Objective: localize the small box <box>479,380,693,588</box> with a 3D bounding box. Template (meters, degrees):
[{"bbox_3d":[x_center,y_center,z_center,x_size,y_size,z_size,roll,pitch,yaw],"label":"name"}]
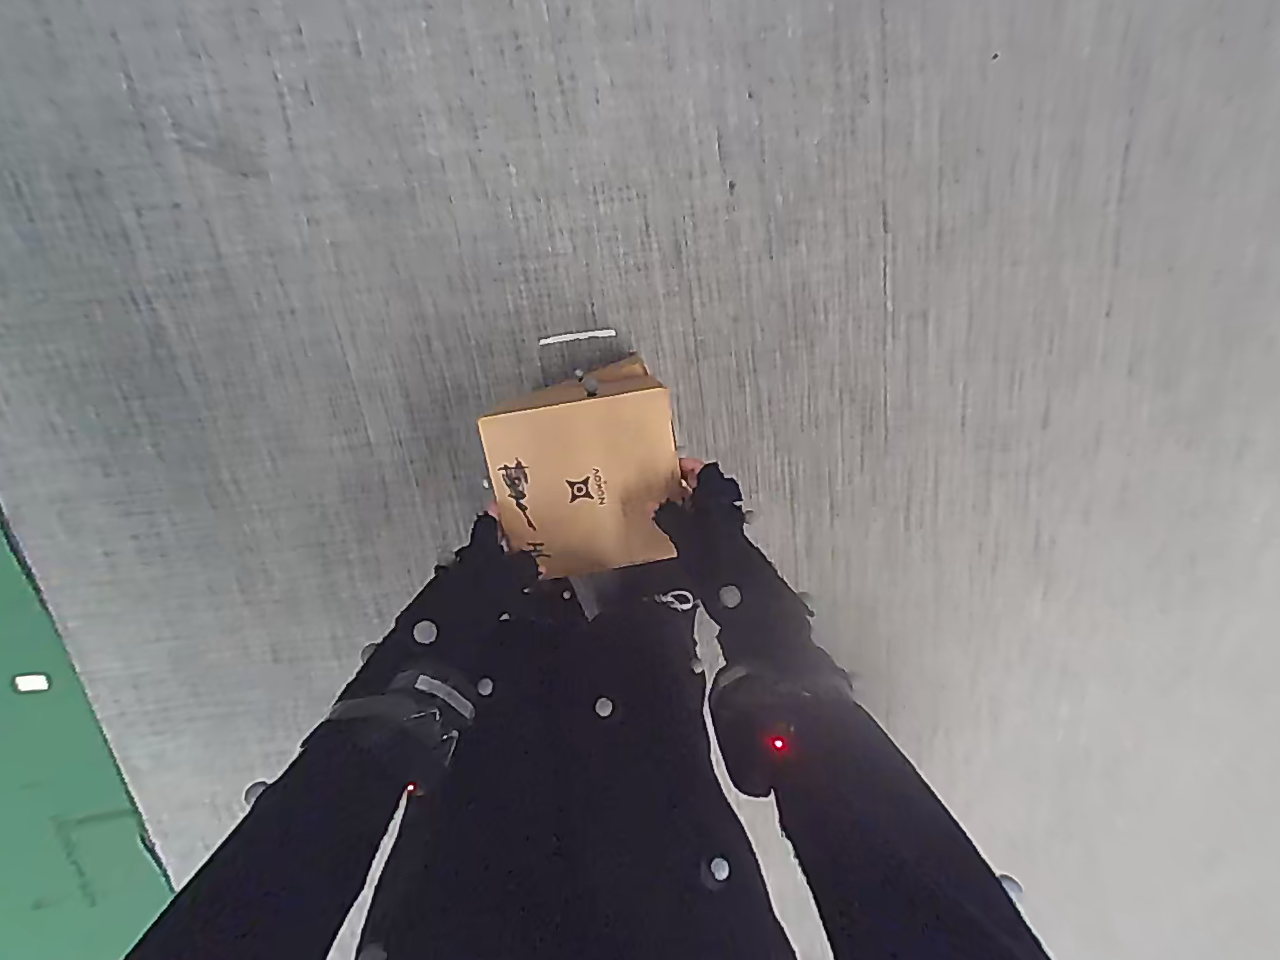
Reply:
[{"bbox_3d":[-0.051,-0.008,0.586,0.179,0.176,0.168,-12,105,1],"label":"small box"}]

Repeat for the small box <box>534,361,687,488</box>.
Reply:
[{"bbox_3d":[-0.051,-0.057,0.742,0.179,0.176,0.168,-20,105,4],"label":"small box"}]
